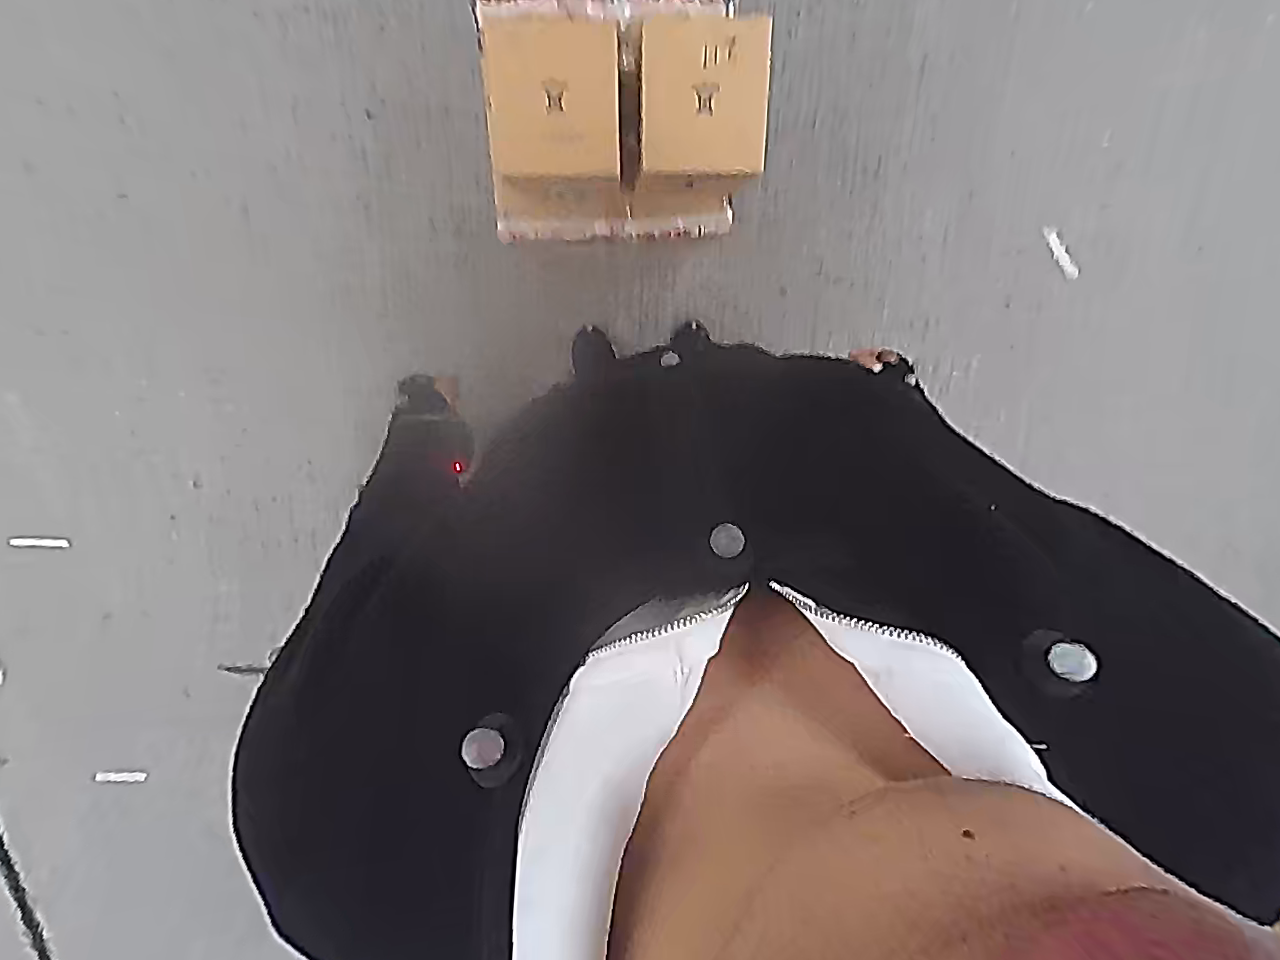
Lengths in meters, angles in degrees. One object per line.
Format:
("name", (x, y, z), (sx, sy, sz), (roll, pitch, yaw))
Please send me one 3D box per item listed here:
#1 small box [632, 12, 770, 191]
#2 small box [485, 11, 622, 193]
("small box", (0.077, -0.522, 0.773), (0.168, 0.176, 0.179), (-2, 109, -4))
("small box", (-0.111, -0.518, 0.765), (0.168, 0.176, 0.179), (-2, 111, -1))
